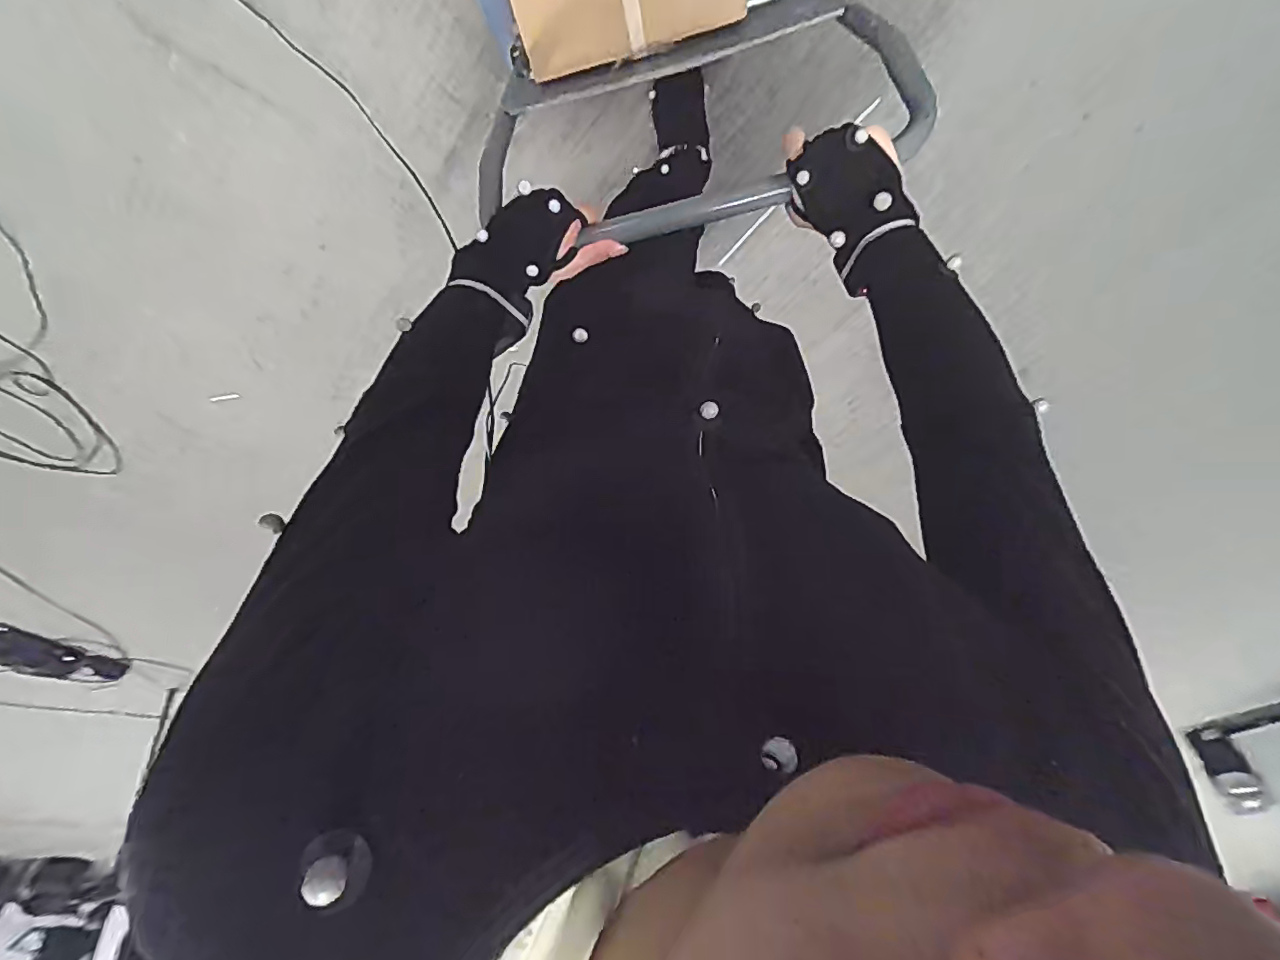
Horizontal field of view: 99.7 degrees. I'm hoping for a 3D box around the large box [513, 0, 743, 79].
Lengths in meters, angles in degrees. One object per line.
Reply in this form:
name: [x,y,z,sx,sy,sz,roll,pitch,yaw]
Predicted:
large box: [-0.052,-0.863,0.750,0.320,0.320,0.408,-11,135,9]
